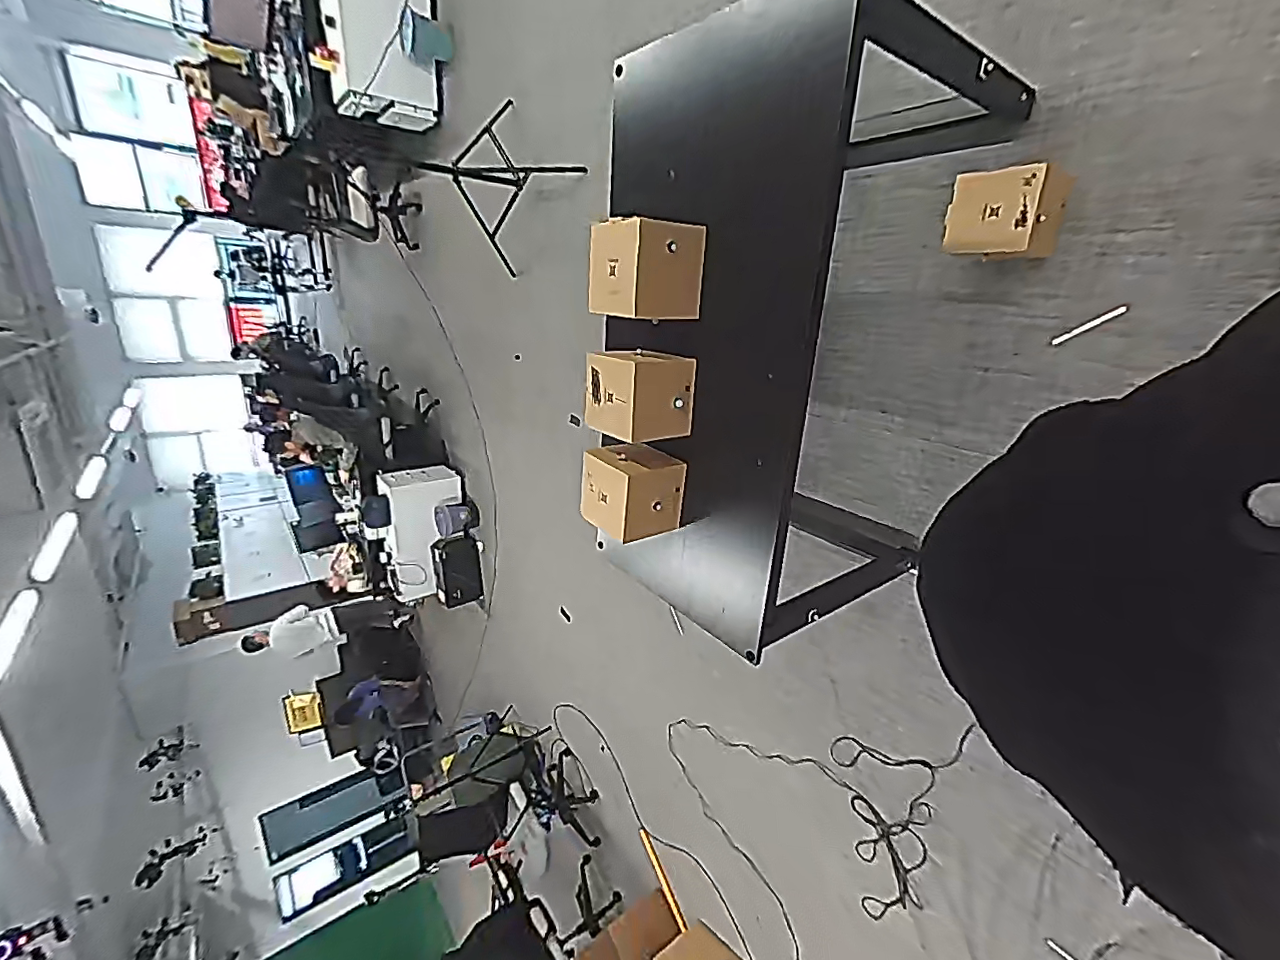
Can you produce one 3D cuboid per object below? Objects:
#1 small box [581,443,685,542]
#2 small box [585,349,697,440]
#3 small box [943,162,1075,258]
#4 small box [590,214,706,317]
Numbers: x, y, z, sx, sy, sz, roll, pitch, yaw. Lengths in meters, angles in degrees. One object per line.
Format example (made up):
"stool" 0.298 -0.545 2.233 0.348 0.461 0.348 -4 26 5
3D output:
"small box" -0.017 0.019 1.248 0.179 0.176 0.168 30 121 46
"small box" -0.001 -0.191 1.171 0.179 0.176 0.168 25 118 47
"small box" 0.817 -0.589 1.201 0.179 0.176 0.168 25 119 48
"small box" 0.015 -0.426 1.091 0.168 0.176 0.179 27 121 49
